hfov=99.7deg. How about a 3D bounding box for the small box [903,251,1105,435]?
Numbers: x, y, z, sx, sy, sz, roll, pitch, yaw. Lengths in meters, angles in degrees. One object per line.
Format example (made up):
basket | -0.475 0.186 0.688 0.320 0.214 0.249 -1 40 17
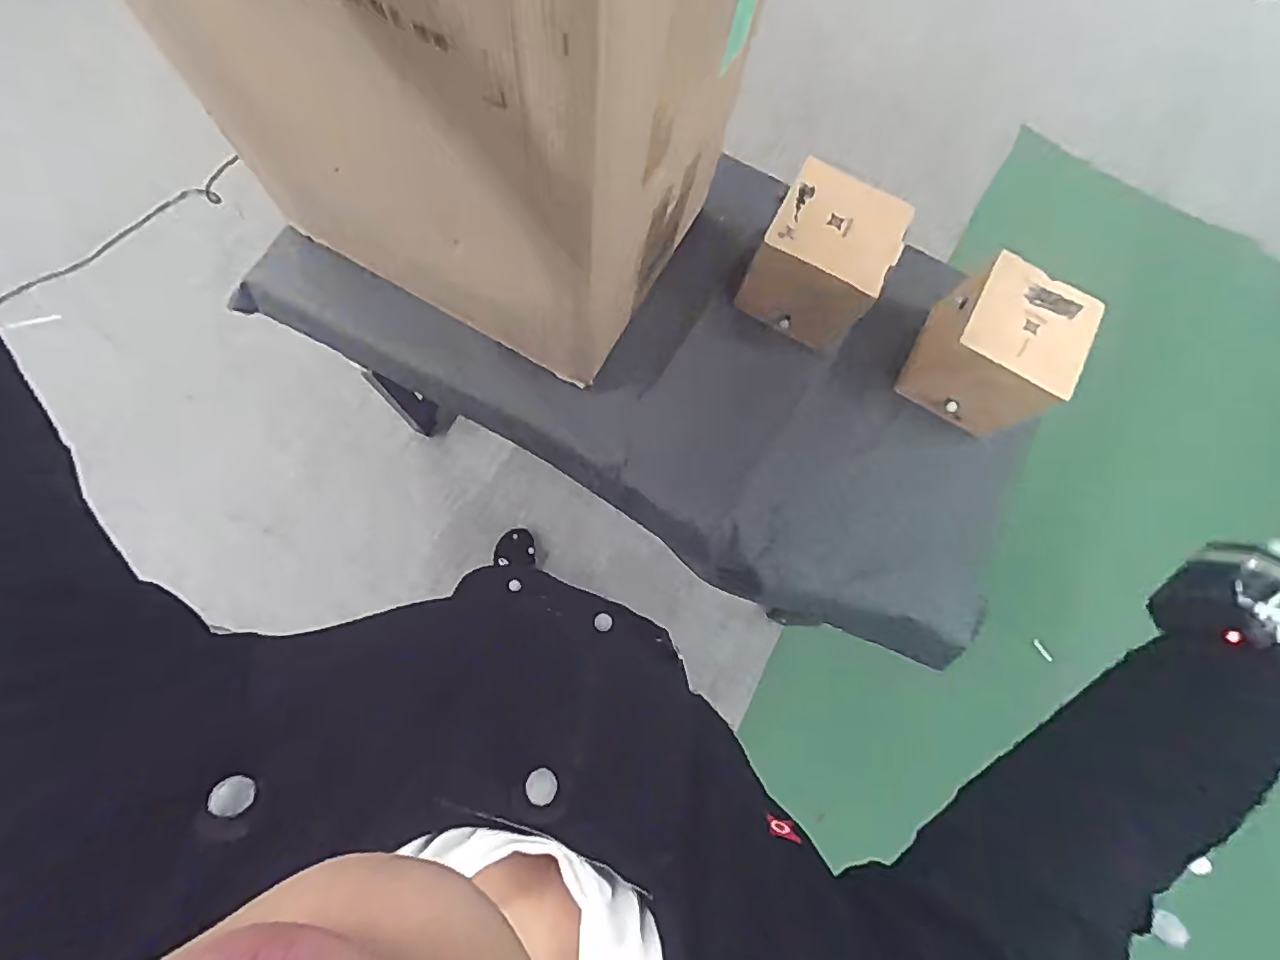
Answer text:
small box | 0.538 -0.197 0.823 0.168 0.176 0.179 30 76 3
